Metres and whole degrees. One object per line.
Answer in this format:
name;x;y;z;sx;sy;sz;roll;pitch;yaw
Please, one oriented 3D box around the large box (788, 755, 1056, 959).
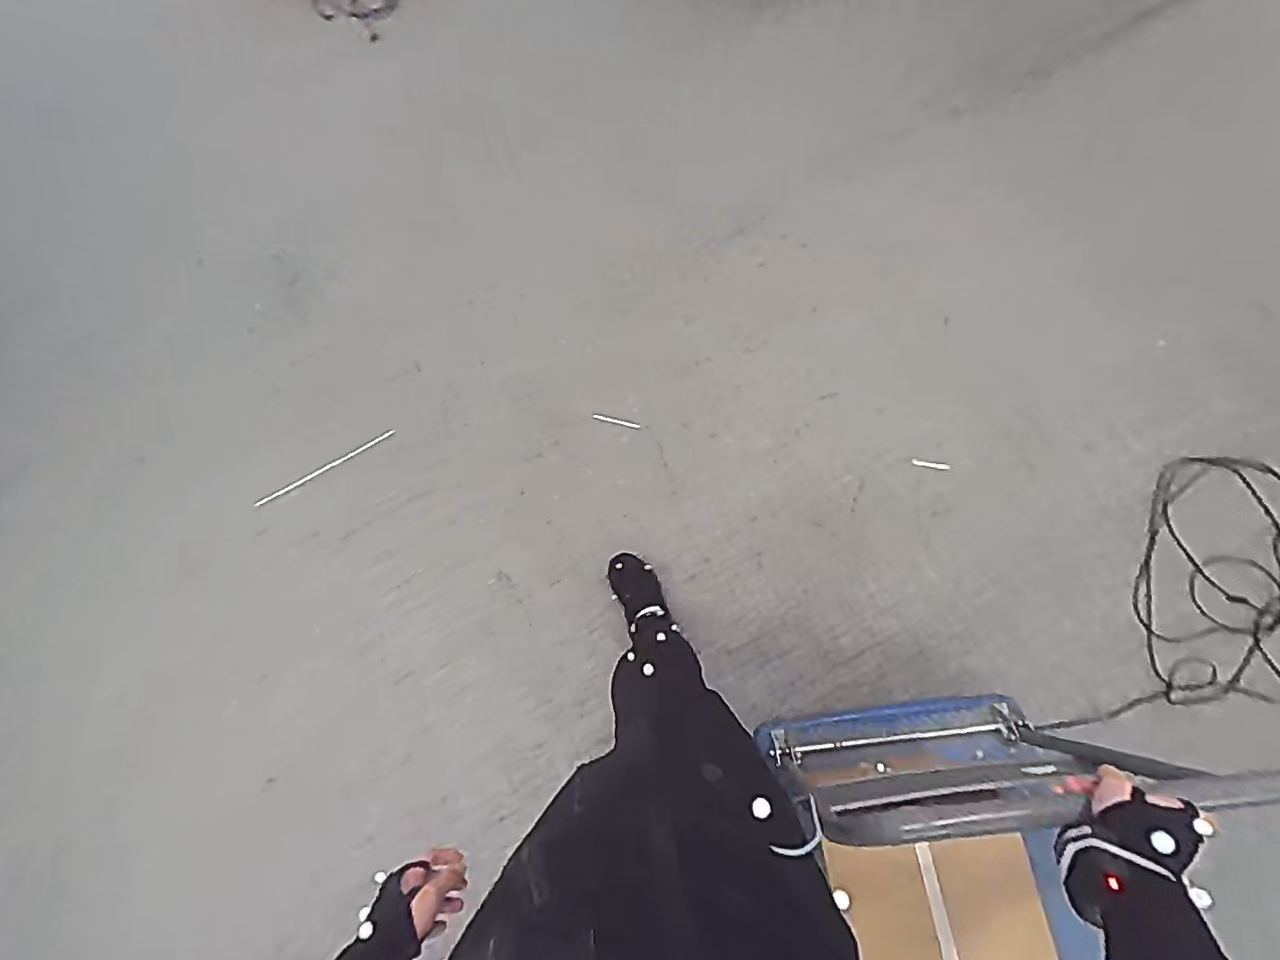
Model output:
large box;0.487;0.768;0.971;0.320;0.320;0.408;-10;75;3
